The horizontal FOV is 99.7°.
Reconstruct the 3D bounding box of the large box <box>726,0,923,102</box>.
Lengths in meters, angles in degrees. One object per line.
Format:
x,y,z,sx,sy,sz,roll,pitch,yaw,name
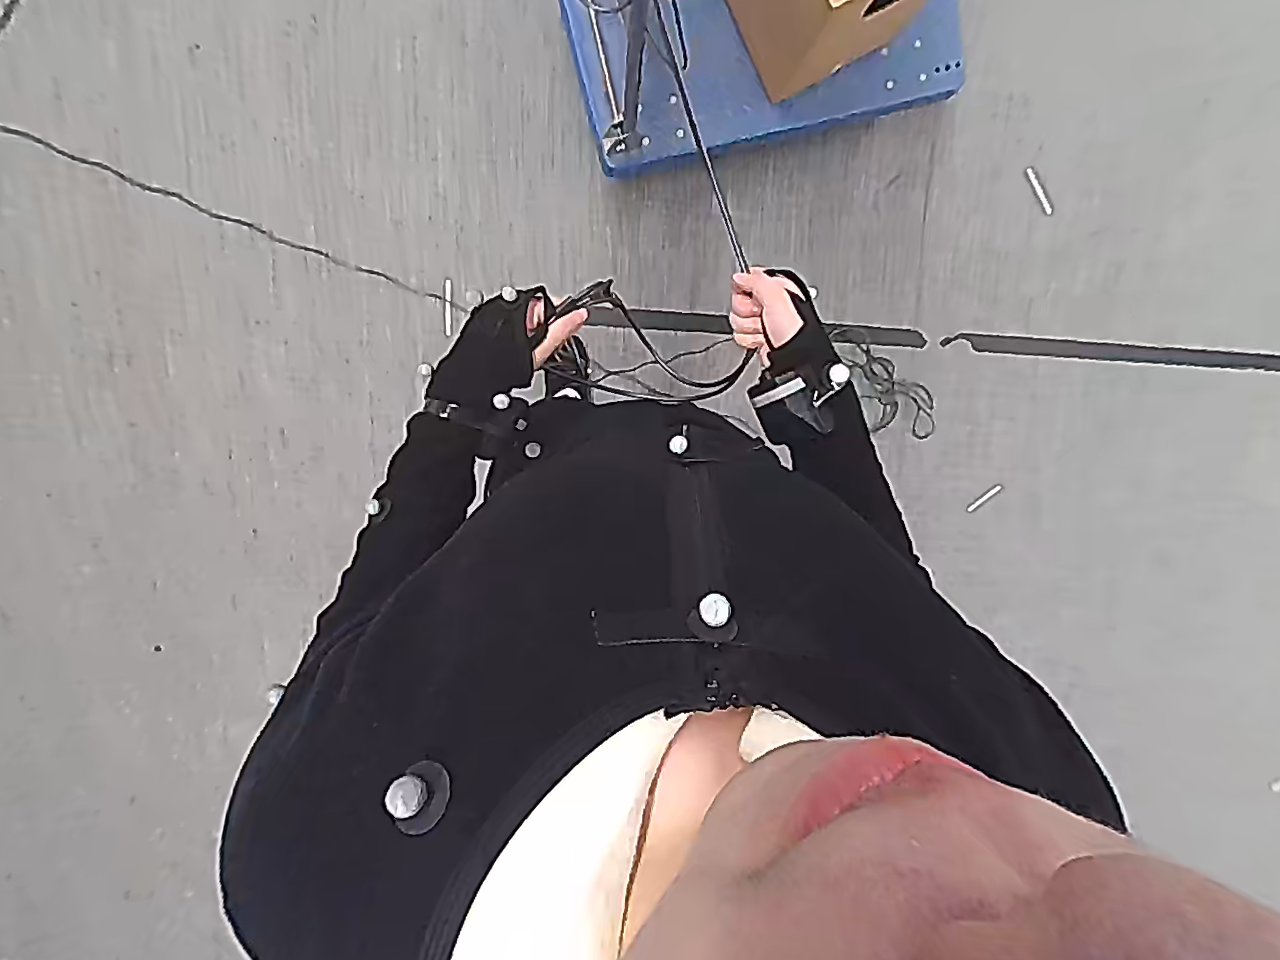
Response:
0.349,-1.062,1.034,0.320,0.320,0.408,-29,101,0,large box
